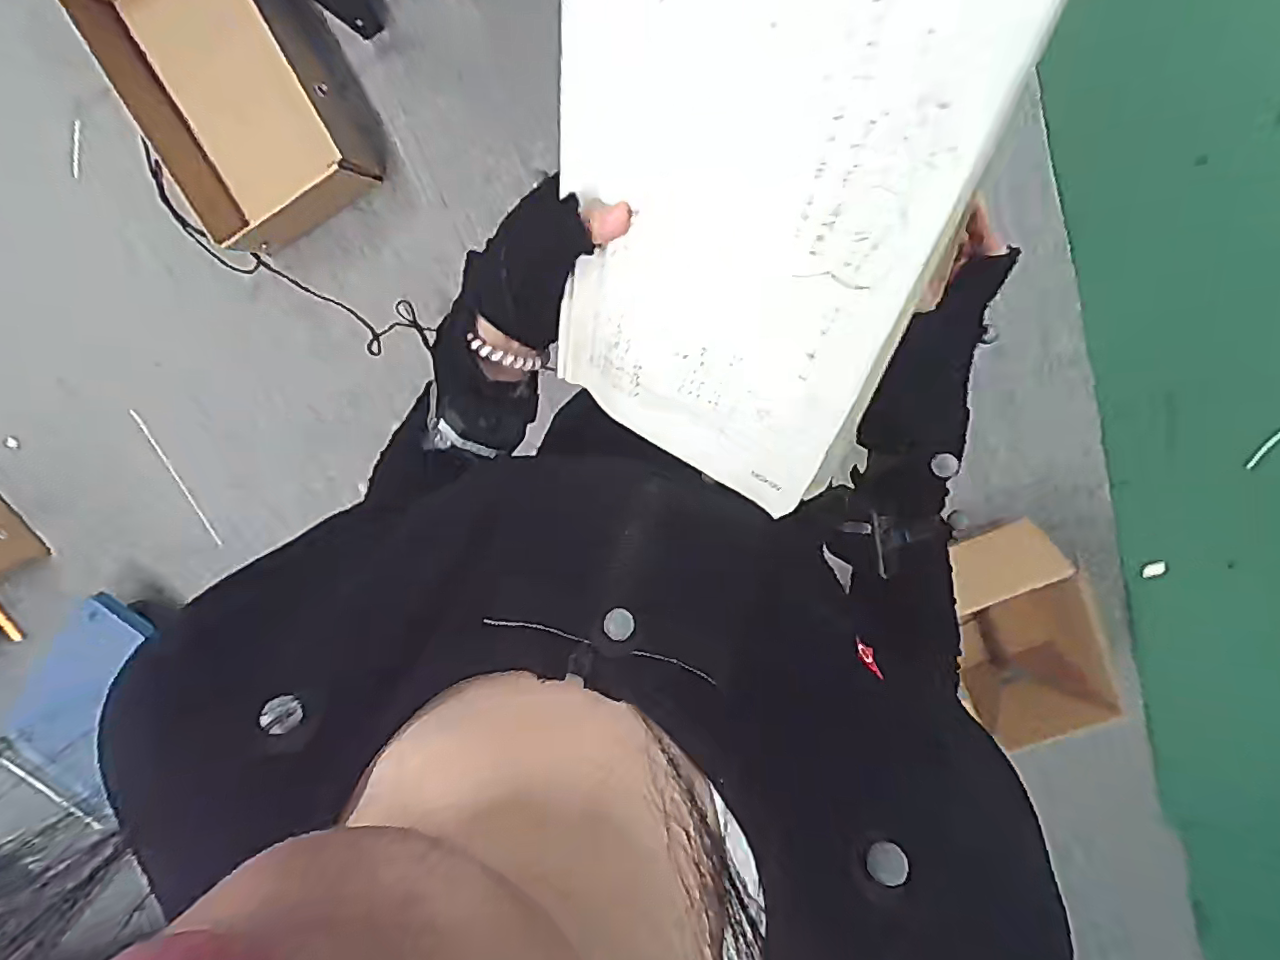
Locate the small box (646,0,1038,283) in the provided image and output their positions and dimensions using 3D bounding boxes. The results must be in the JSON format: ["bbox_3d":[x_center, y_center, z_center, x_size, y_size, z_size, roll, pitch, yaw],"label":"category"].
[{"bbox_3d":[0.111,-0.231,0.353,0.179,0.176,0.168,9,117,6],"label":"small box"}]
